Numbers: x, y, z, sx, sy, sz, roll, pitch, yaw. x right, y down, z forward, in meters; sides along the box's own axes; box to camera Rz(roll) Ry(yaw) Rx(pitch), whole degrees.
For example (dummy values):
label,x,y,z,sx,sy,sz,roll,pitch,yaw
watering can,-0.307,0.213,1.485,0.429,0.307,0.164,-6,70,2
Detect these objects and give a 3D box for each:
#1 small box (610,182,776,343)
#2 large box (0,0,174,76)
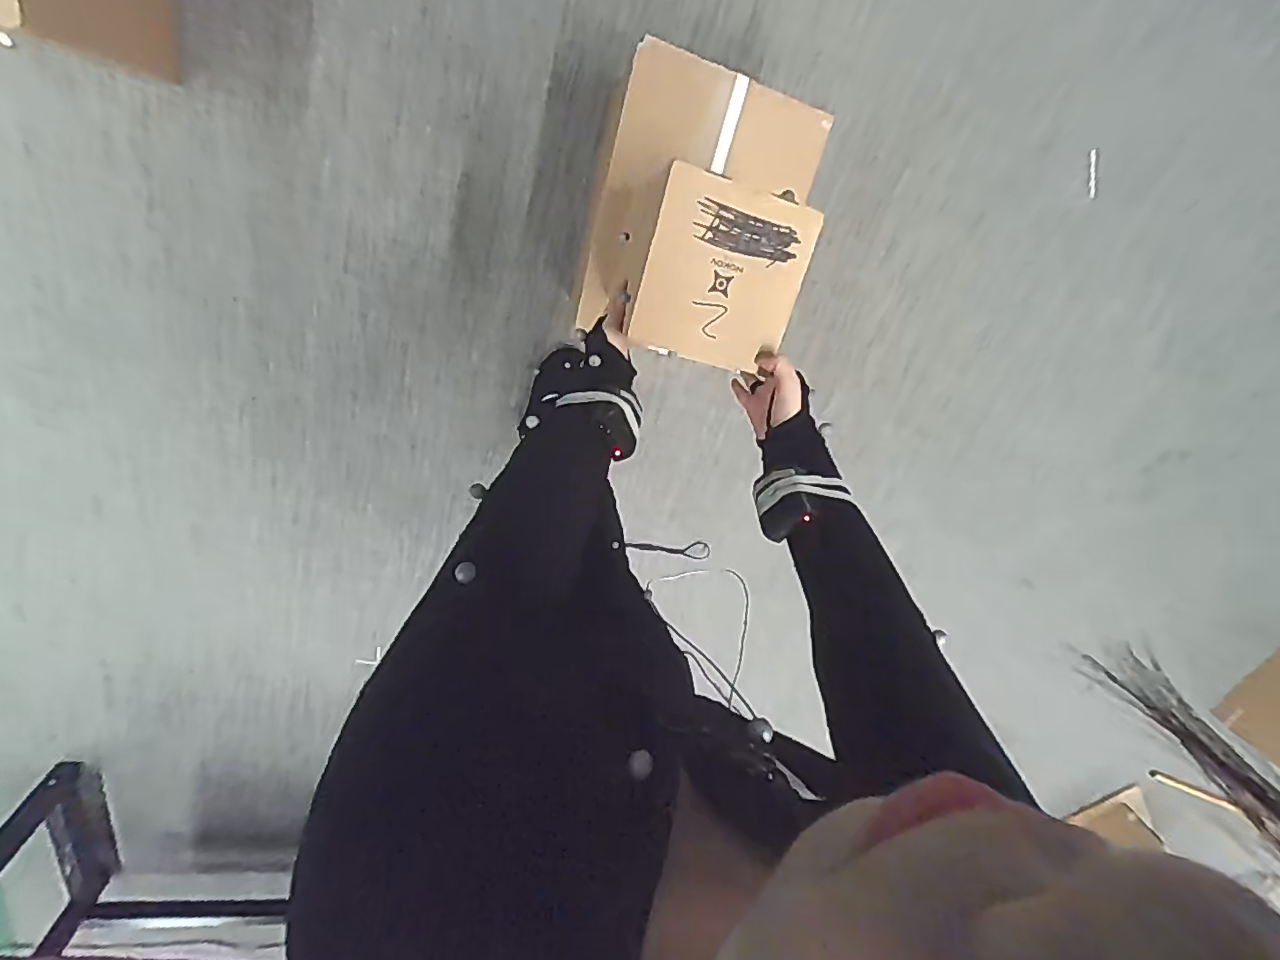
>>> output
label,x,y,z,sx,sy,sz,roll,pitch,yaw
small box,0.063,-0.316,0.783,0.179,0.176,0.168,12,114,-13
large box,-0.847,-0.806,0.659,0.320,0.320,0.408,12,113,-14
